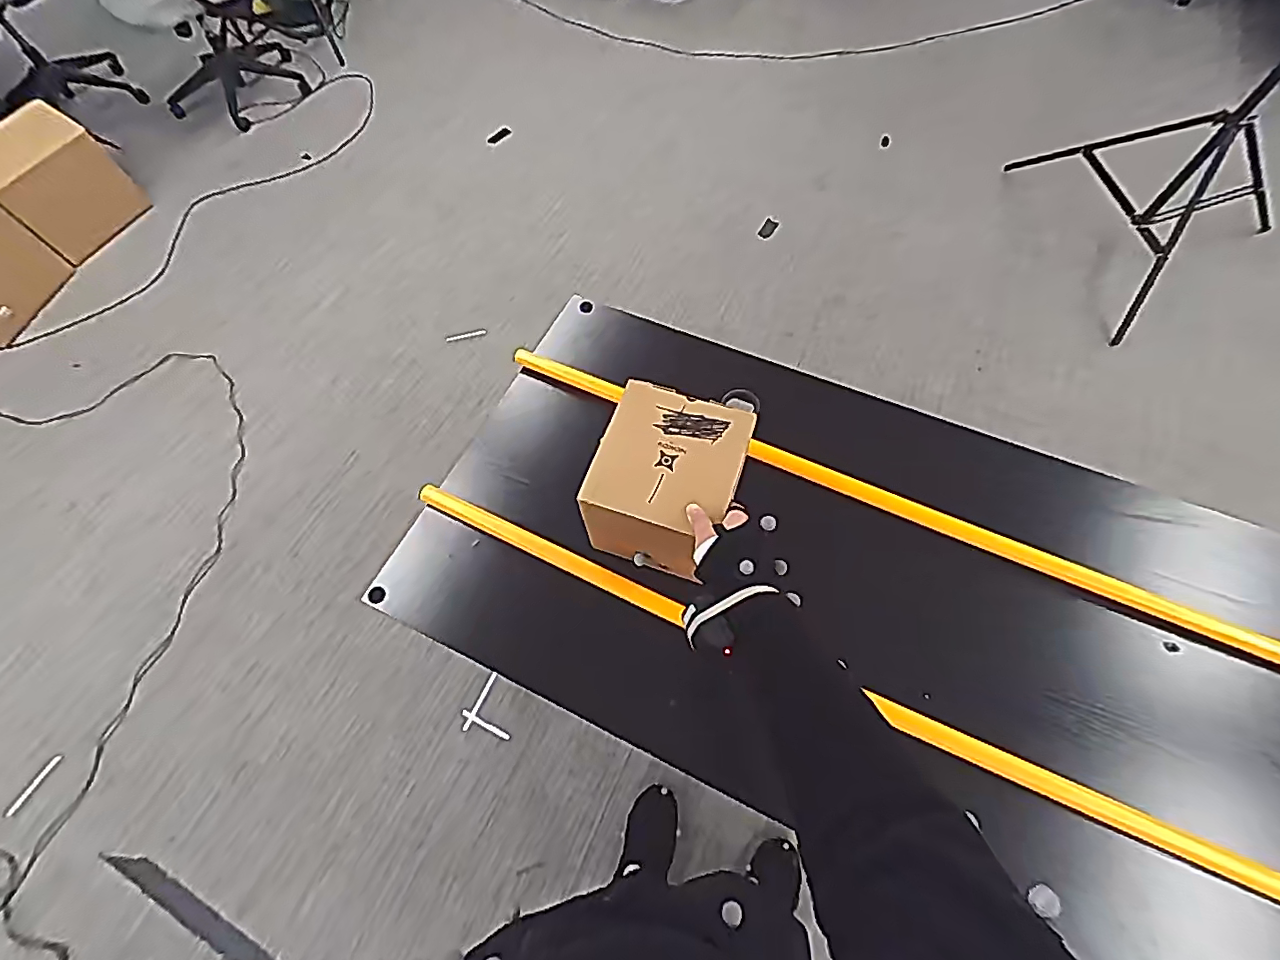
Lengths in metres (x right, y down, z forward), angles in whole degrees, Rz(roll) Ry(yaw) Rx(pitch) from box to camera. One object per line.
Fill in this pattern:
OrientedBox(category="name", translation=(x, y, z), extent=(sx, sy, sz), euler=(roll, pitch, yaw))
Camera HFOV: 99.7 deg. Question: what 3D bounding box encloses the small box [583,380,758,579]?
OrientedBox(category="small box", translation=(0.041, 0.006, 0.701), extent=(0.168, 0.176, 0.179), euler=(17, 66, 11))
